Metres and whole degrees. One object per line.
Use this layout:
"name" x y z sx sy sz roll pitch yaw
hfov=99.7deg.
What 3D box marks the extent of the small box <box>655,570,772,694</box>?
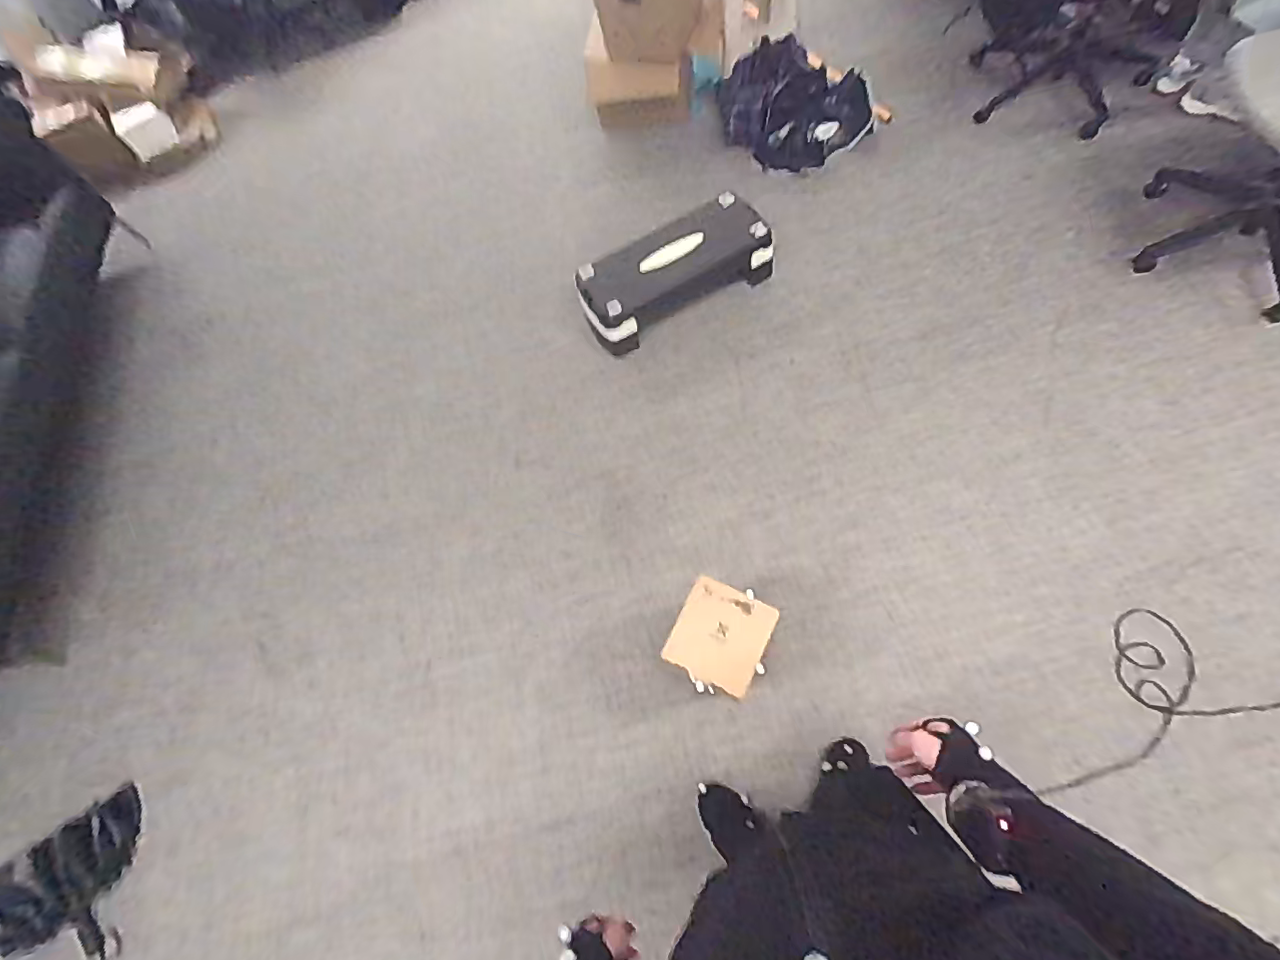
"small box" 0.150 0.310 1.077 0.168 0.176 0.179 24 73 19
